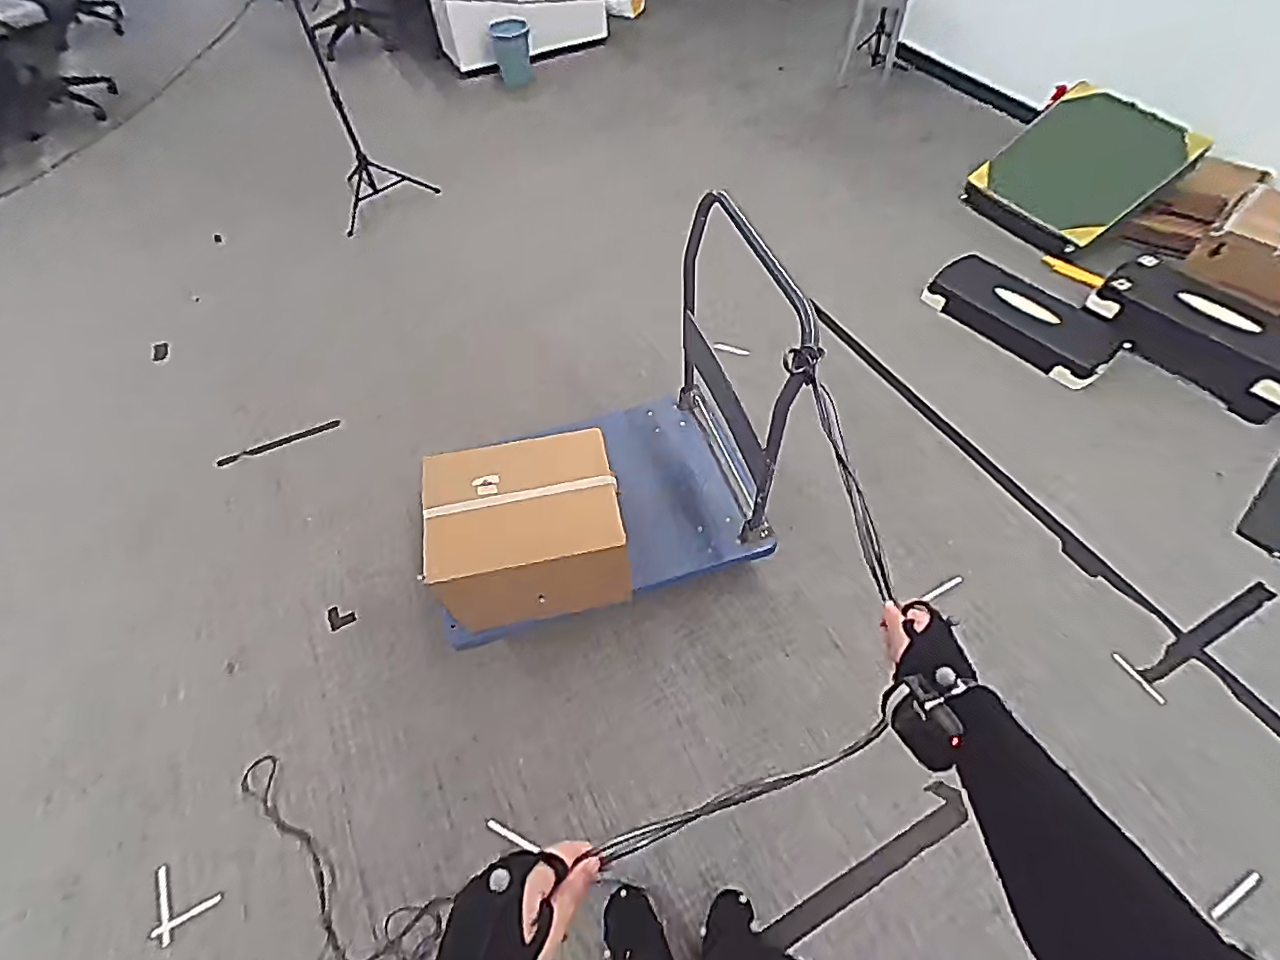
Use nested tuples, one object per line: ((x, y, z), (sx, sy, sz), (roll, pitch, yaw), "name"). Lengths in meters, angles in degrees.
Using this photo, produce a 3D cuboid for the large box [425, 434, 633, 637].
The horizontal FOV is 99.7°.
((-0.247, 0.136, 1.264), (0.408, 0.320, 0.320), (-11, 56, -5), "large box")
